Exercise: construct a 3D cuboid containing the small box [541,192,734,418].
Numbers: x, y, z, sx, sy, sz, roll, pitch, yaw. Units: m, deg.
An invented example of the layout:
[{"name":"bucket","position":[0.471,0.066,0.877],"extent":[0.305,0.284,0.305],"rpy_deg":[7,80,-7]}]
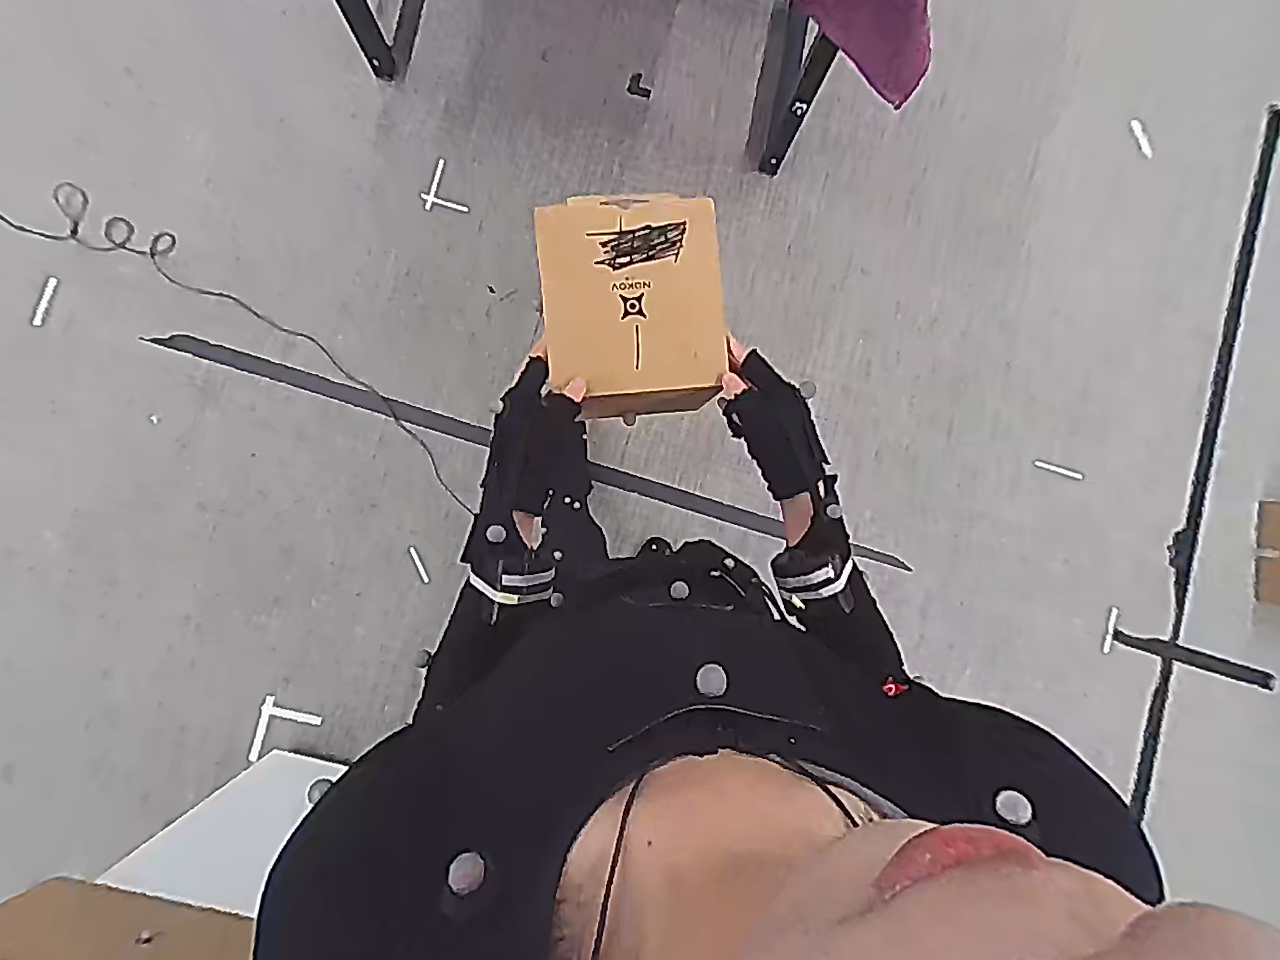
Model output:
[{"name":"small box","position":[-0.008,-0.169,0.568],"extent":[0.168,0.176,0.179],"rpy_deg":[-6,89,-4]}]
